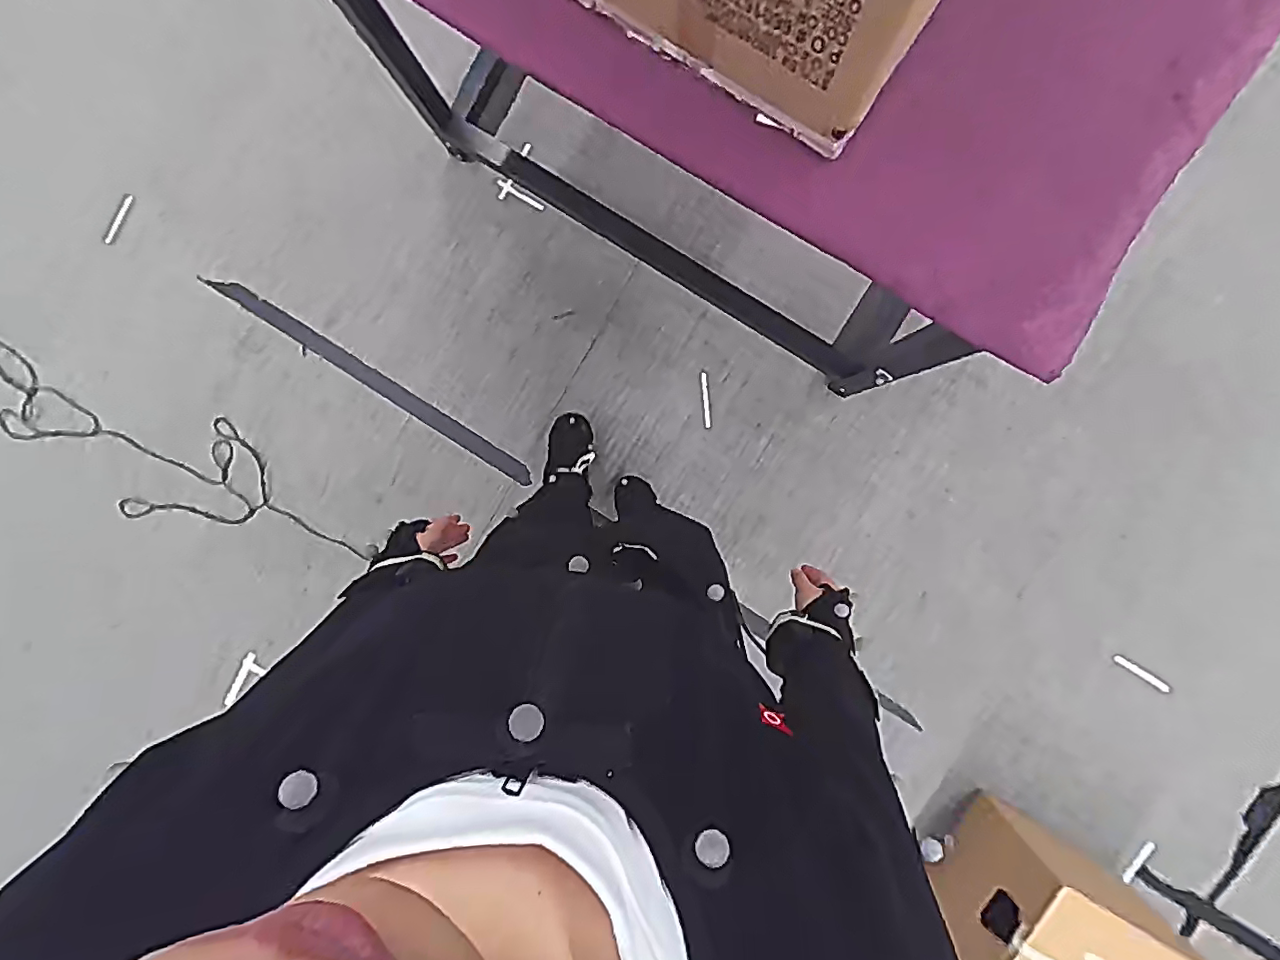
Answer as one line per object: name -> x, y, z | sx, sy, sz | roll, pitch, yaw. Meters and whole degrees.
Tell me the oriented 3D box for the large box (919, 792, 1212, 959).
large box -> 0.947, 1.020, 1.227 | 0.408, 0.320, 0.320 | 30, 94, 3
